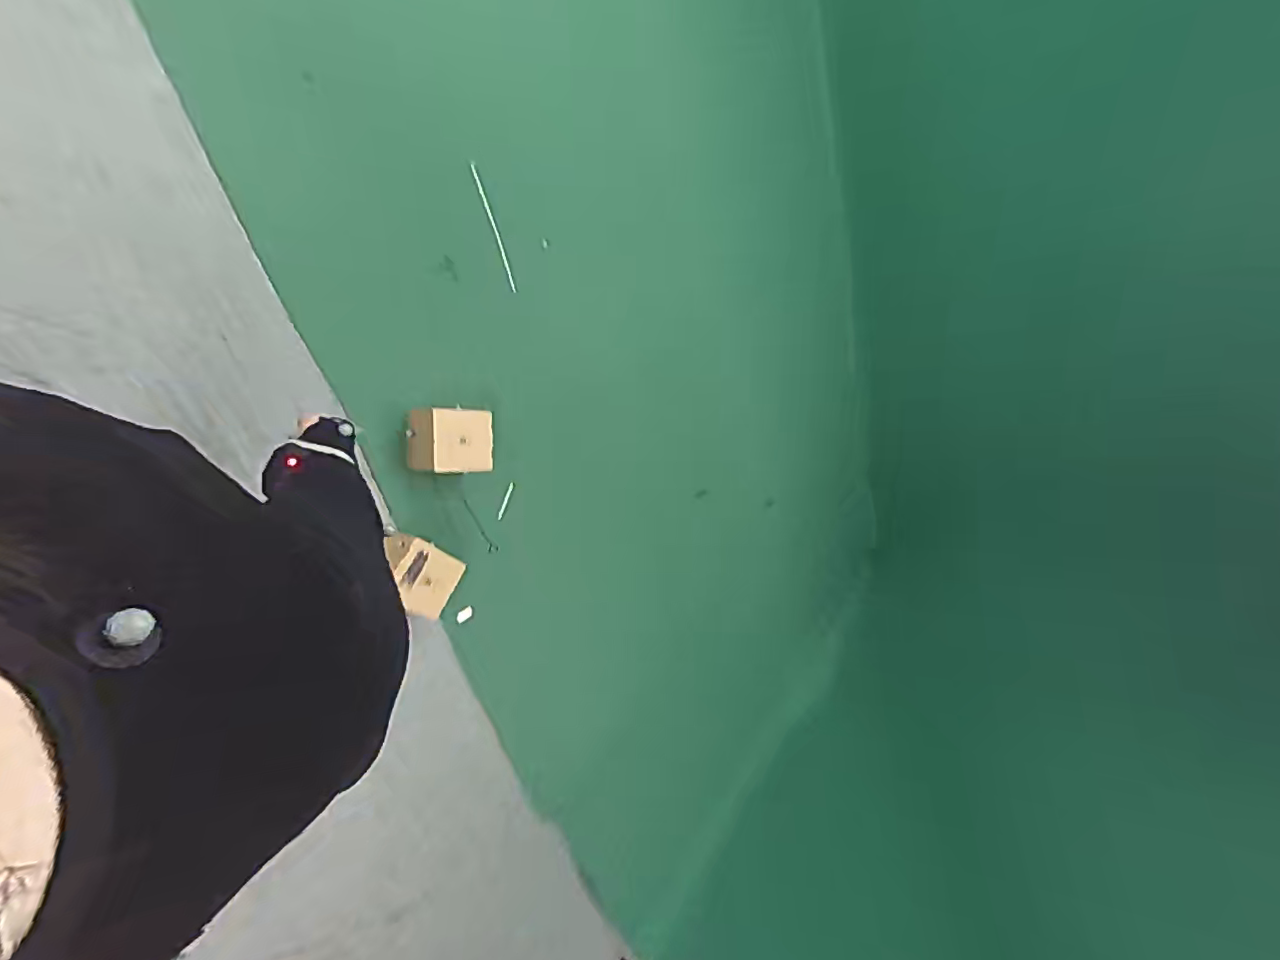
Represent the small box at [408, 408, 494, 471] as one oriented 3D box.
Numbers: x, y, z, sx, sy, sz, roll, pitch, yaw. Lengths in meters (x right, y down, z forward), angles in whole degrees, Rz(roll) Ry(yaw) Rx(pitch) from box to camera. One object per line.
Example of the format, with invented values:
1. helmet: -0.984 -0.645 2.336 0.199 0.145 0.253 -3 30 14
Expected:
1. small box: -0.532 -0.114 1.526 0.179 0.176 0.168 -3 96 -46
